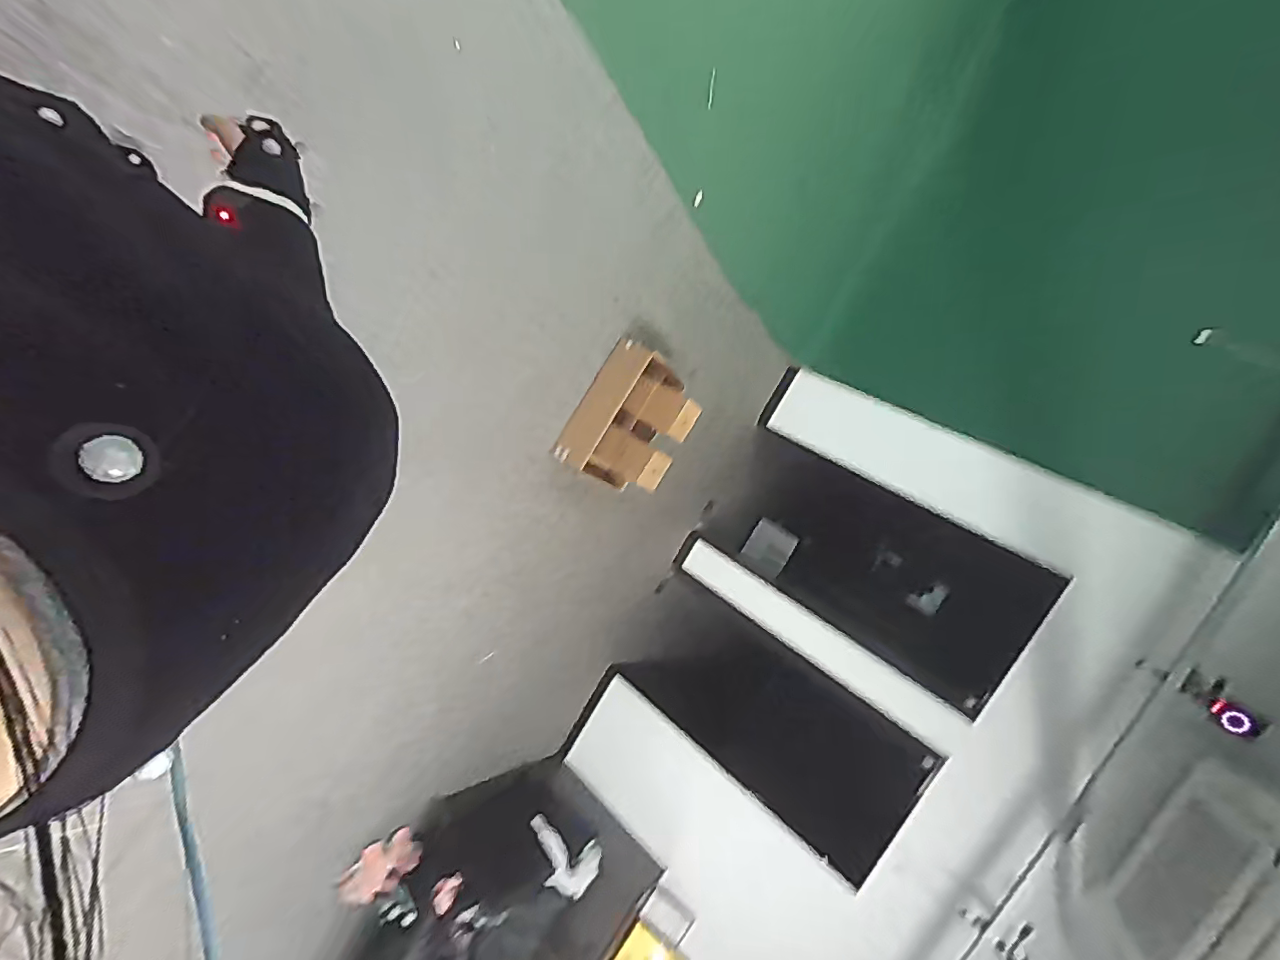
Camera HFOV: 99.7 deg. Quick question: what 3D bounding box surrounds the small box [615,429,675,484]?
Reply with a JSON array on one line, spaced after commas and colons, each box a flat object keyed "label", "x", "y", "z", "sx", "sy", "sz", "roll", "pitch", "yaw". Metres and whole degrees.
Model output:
[{"label": "small box", "x": 0.019, "y": -0.106, "z": 2.382, "sx": 0.168, "sy": 0.176, "sz": 0.179, "roll": -59, "pitch": 150, "yaw": 3}]

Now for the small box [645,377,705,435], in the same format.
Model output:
[{"label": "small box", "x": 0.149, "y": -0.325, "z": 2.361, "sx": 0.179, "sy": 0.176, "sz": 0.168, "roll": -59, "pitch": 150, "yaw": 6}]
